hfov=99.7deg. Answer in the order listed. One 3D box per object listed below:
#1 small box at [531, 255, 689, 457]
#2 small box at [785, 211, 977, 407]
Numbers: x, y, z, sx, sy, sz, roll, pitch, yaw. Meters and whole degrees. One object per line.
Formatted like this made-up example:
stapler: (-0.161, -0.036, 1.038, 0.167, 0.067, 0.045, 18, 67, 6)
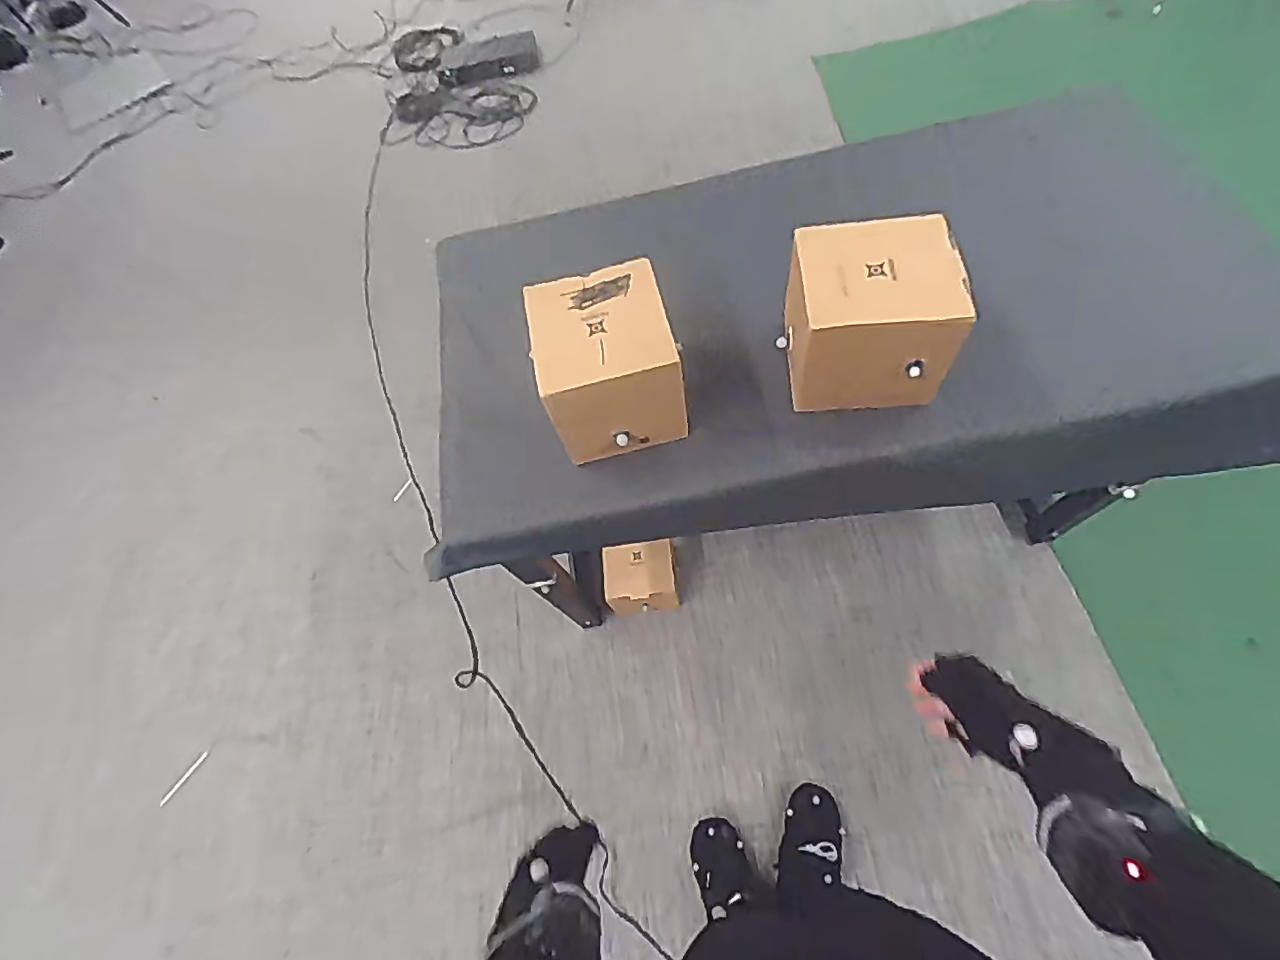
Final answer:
small box: (-0.035, -0.156, 0.716, 0.168, 0.176, 0.179, -14, 63, 2)
small box: (0.290, -0.210, 0.696, 0.179, 0.176, 0.168, -3, 63, 8)
